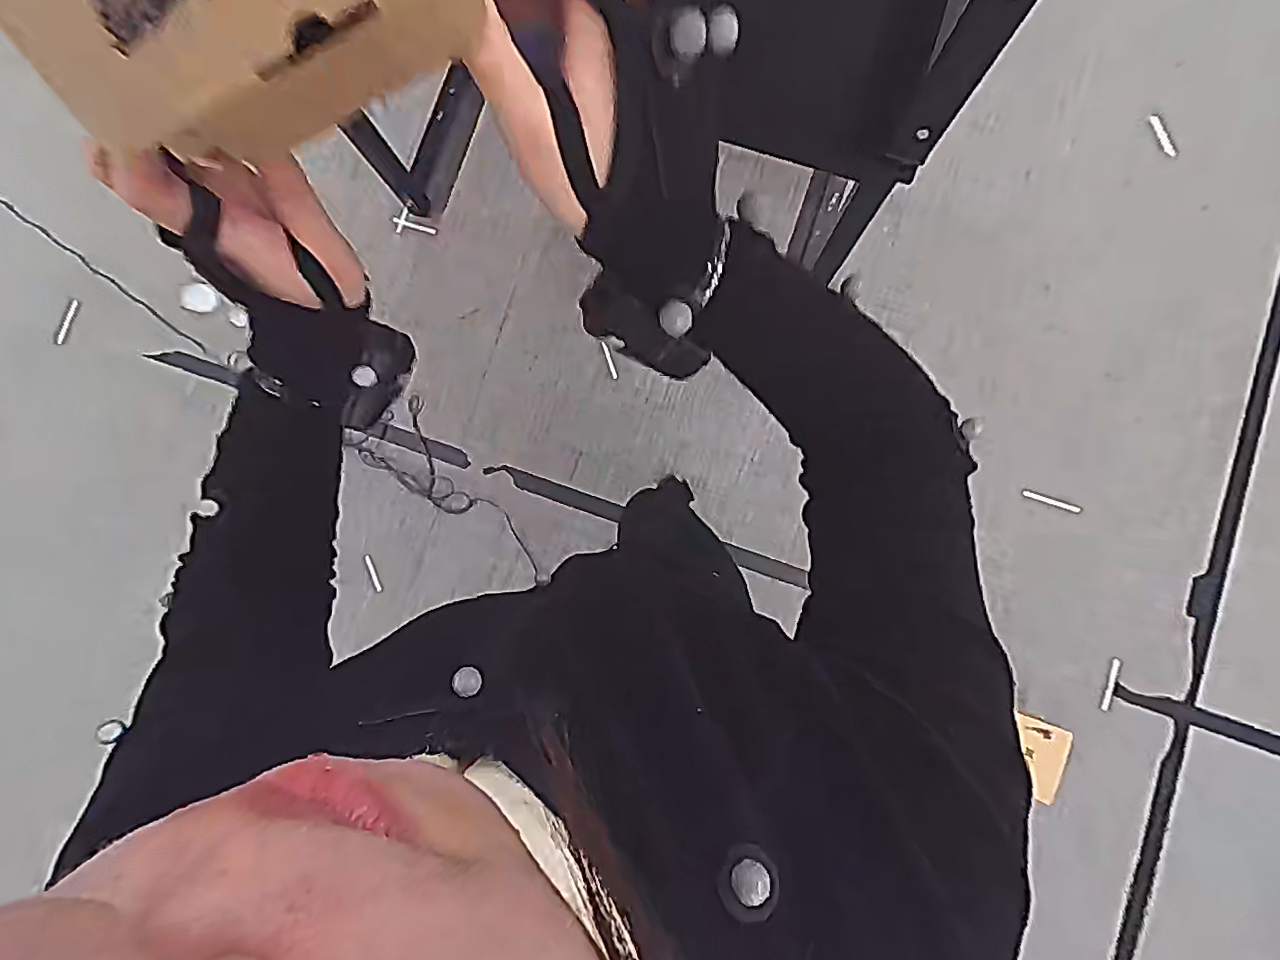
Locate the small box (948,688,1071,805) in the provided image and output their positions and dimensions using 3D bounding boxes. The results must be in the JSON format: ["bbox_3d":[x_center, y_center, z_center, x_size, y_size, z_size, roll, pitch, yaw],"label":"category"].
[{"bbox_3d":[0.899,0.647,1.335,0.168,0.176,0.179,21,88,4],"label":"small box"}]
